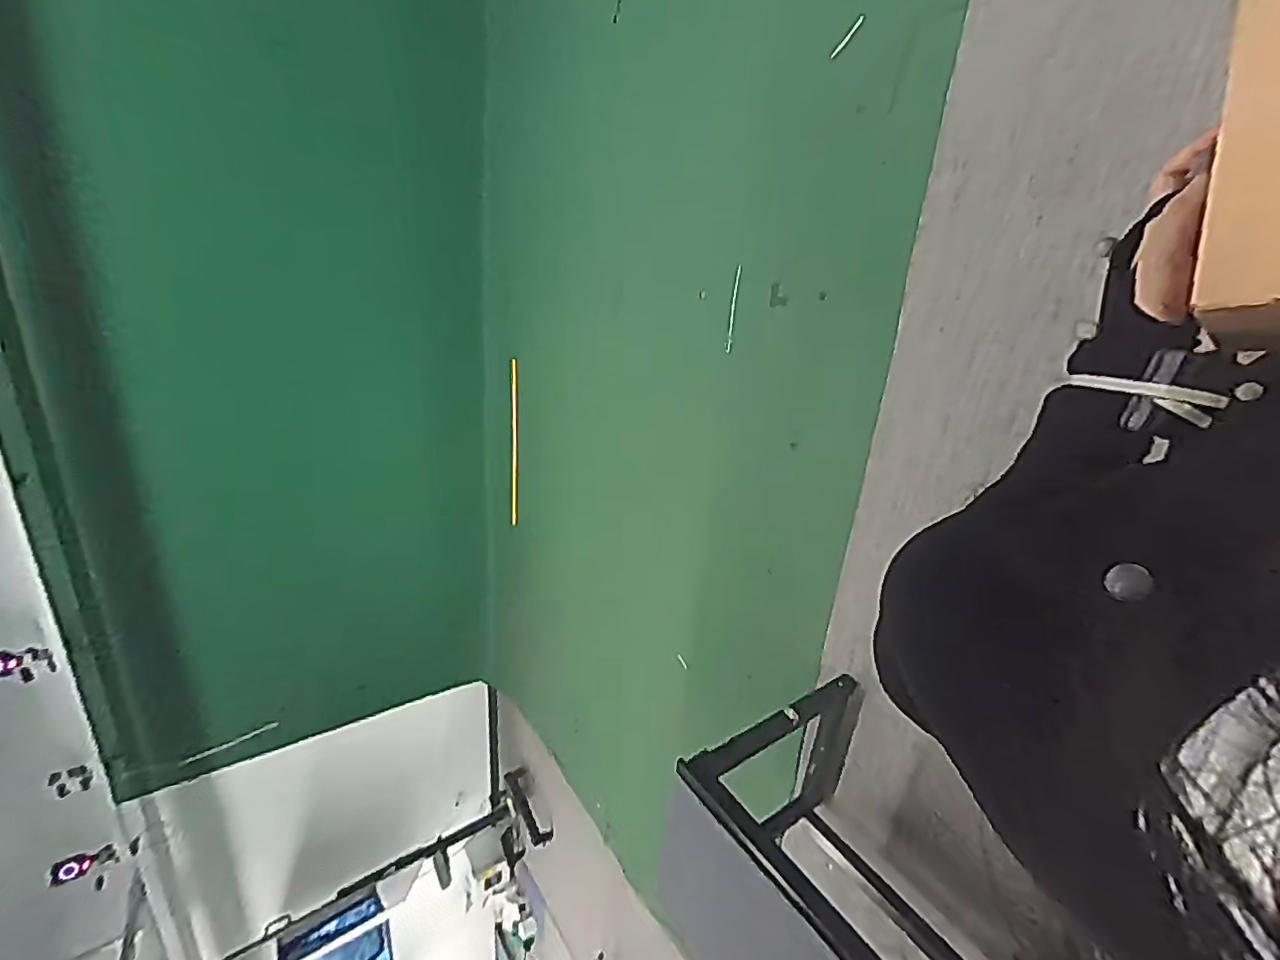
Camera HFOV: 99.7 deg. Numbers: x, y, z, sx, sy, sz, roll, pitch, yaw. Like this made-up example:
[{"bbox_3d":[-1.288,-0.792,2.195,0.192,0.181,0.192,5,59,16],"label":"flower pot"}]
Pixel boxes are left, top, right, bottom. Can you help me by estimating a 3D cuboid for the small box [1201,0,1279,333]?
[{"bbox_3d":[0.419,-0.183,0.269,0.168,0.176,0.179,10,97,53],"label":"small box"}]
